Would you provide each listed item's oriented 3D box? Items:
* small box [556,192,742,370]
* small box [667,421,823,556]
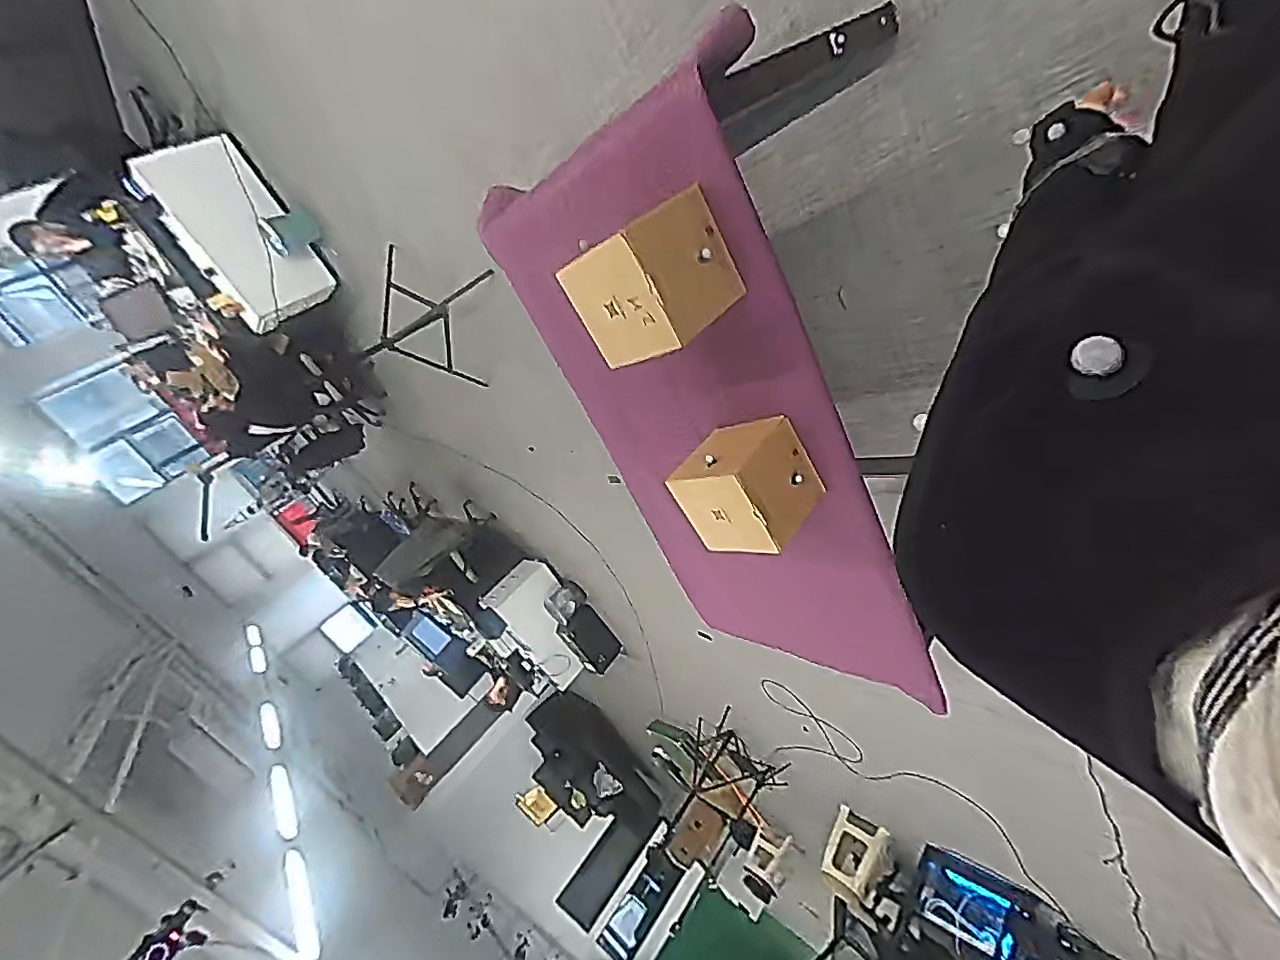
[{"bbox_3d":[0.016,-0.287,0.798,0.179,0.176,0.168,-1,128,52],"label":"small box"},{"bbox_3d":[0.188,0.015,0.959,0.179,0.176,0.168,-8,122,54],"label":"small box"}]
